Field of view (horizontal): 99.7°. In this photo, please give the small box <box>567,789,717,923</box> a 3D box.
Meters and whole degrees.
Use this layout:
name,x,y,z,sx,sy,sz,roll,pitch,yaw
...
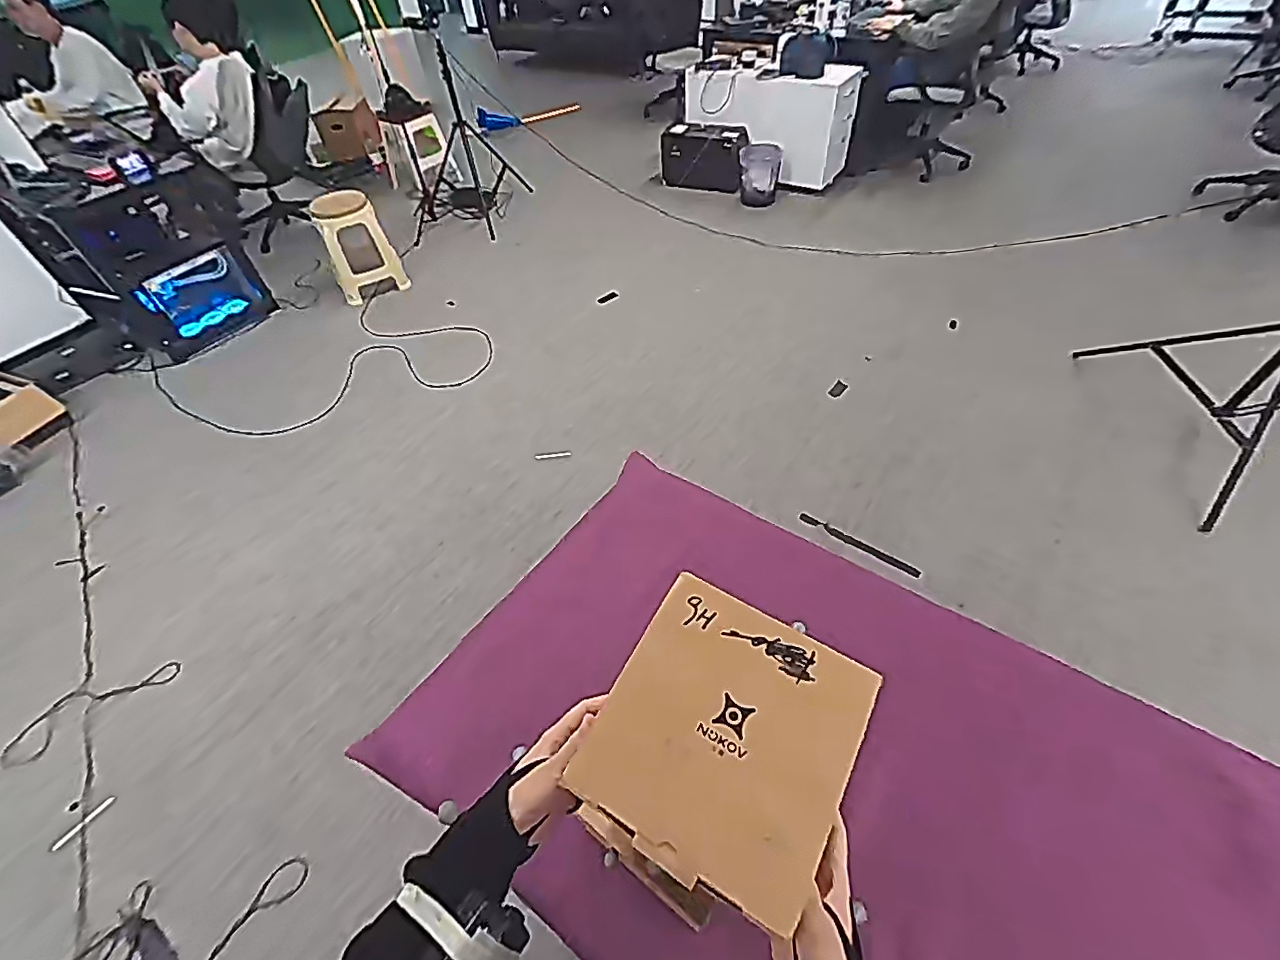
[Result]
name,x,y,z,sx,sy,sz,roll,pitch,yaw
small box,0.045,0.355,0.610,0.168,0.176,0.179,28,55,25

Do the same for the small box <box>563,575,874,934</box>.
name,x,y,z,sx,sy,sz,roll,pitch,yaw
small box,0.063,0.217,0.449,0.168,0.176,0.179,26,63,18
